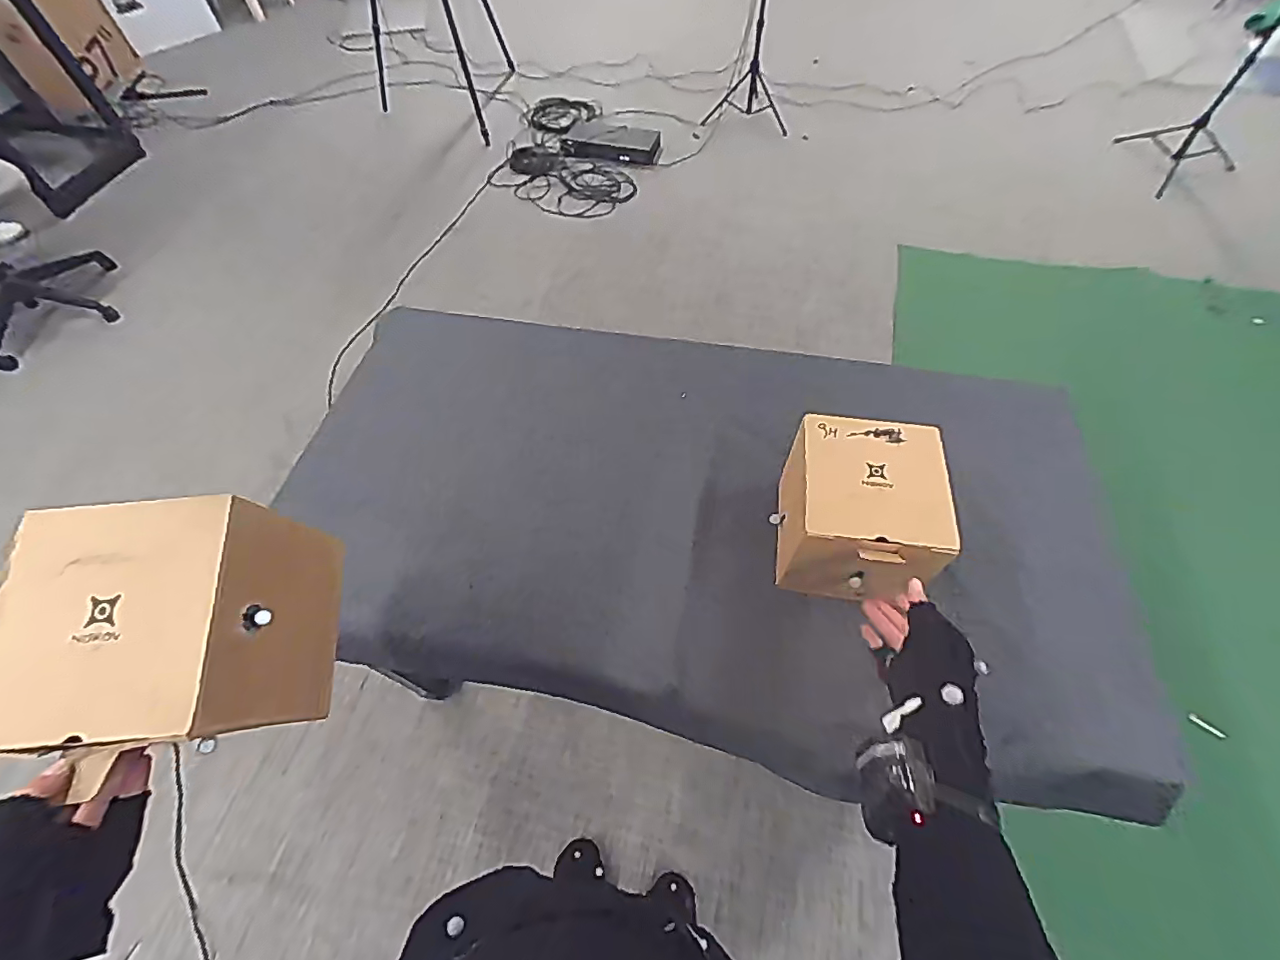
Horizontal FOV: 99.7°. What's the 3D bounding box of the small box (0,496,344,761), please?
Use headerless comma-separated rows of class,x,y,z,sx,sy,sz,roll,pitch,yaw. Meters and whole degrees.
small box,-0.381,0.126,0.463,0.168,0.176,0.179,-5,70,-1

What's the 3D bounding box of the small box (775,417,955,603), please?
small box,0.275,0.045,0.700,0.168,0.176,0.179,8,59,5
